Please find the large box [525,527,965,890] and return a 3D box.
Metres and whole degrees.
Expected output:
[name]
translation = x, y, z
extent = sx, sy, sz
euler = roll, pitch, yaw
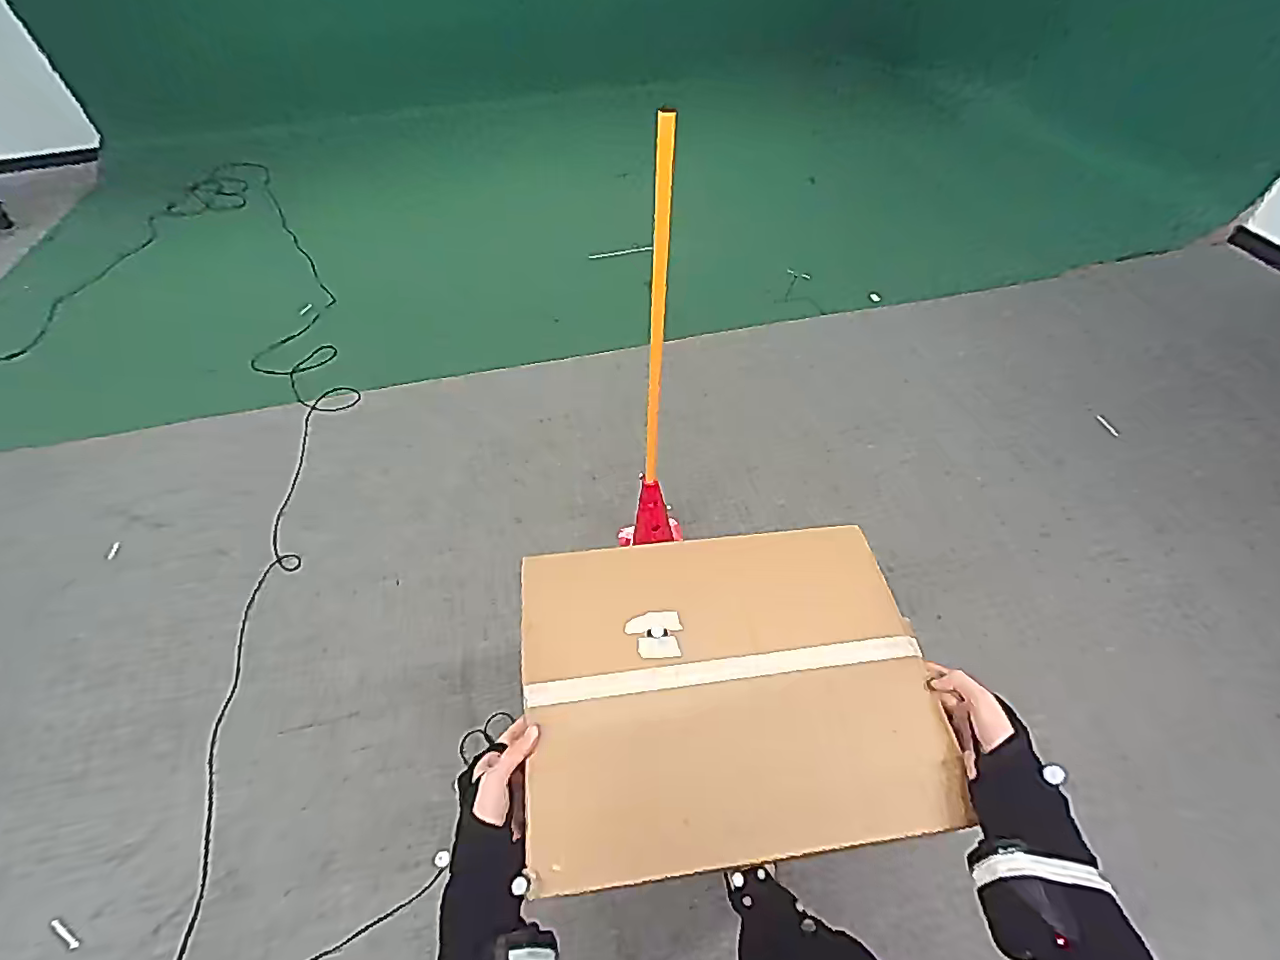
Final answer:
[large box]
translation = 0.082, 0.286, 0.681
extent = 0.408, 0.320, 0.320
euler = -5, 54, -6
